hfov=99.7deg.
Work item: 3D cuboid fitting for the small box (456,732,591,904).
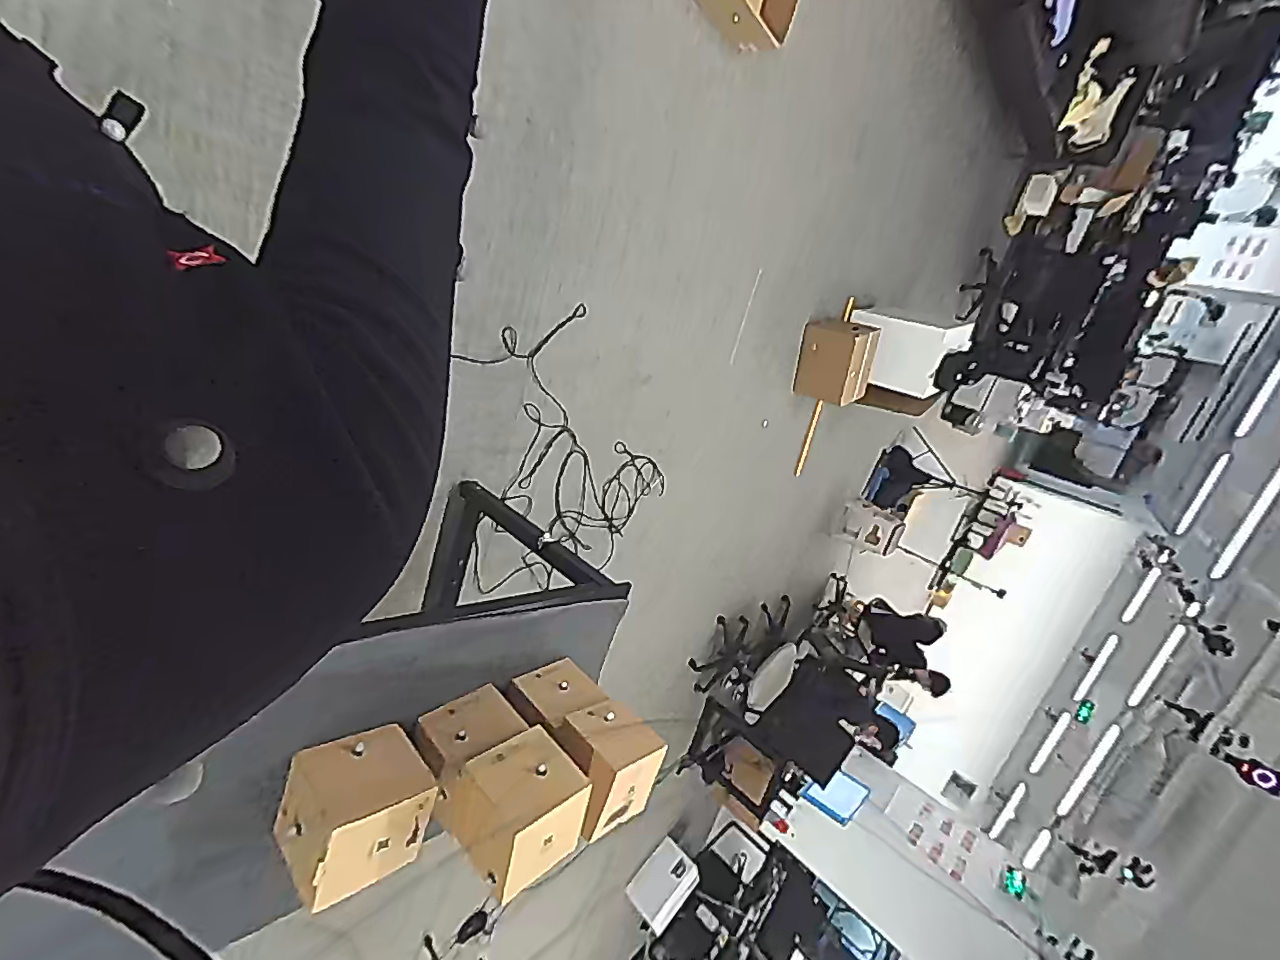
[{"bbox_3d":[-0.215,0.592,0.981,0.168,0.176,0.179,-9,120,-46],"label":"small box"}]
